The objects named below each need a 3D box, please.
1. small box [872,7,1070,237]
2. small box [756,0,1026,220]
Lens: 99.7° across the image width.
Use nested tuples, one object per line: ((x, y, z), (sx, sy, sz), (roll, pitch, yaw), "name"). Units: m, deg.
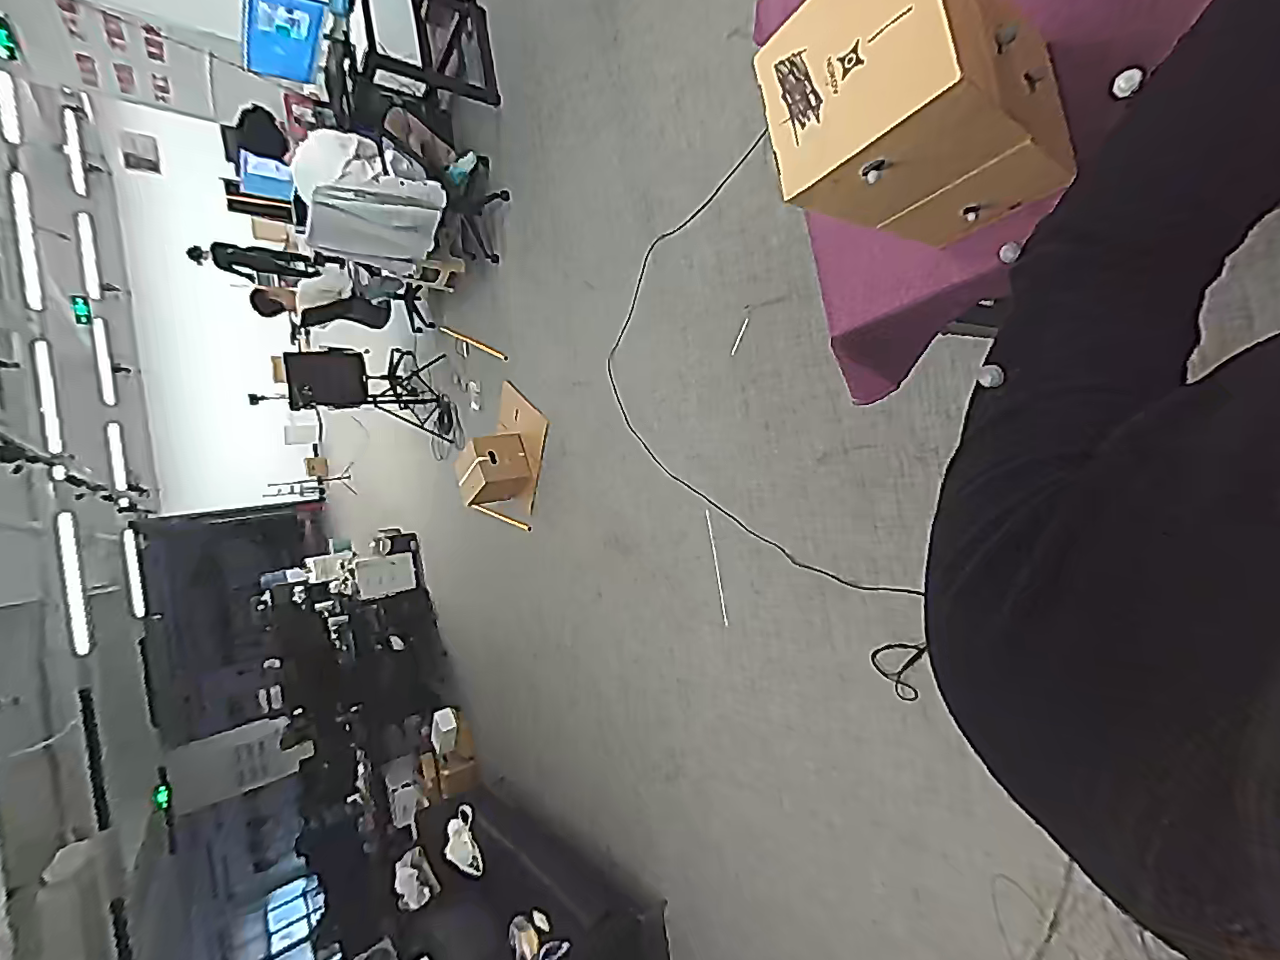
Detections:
((0.381, -0.413, 0.648), (0.168, 0.176, 0.179), (-15, 85, 52), "small box")
((0.250, -0.394, 0.549), (0.179, 0.176, 0.168), (-16, 84, 52), "small box")
